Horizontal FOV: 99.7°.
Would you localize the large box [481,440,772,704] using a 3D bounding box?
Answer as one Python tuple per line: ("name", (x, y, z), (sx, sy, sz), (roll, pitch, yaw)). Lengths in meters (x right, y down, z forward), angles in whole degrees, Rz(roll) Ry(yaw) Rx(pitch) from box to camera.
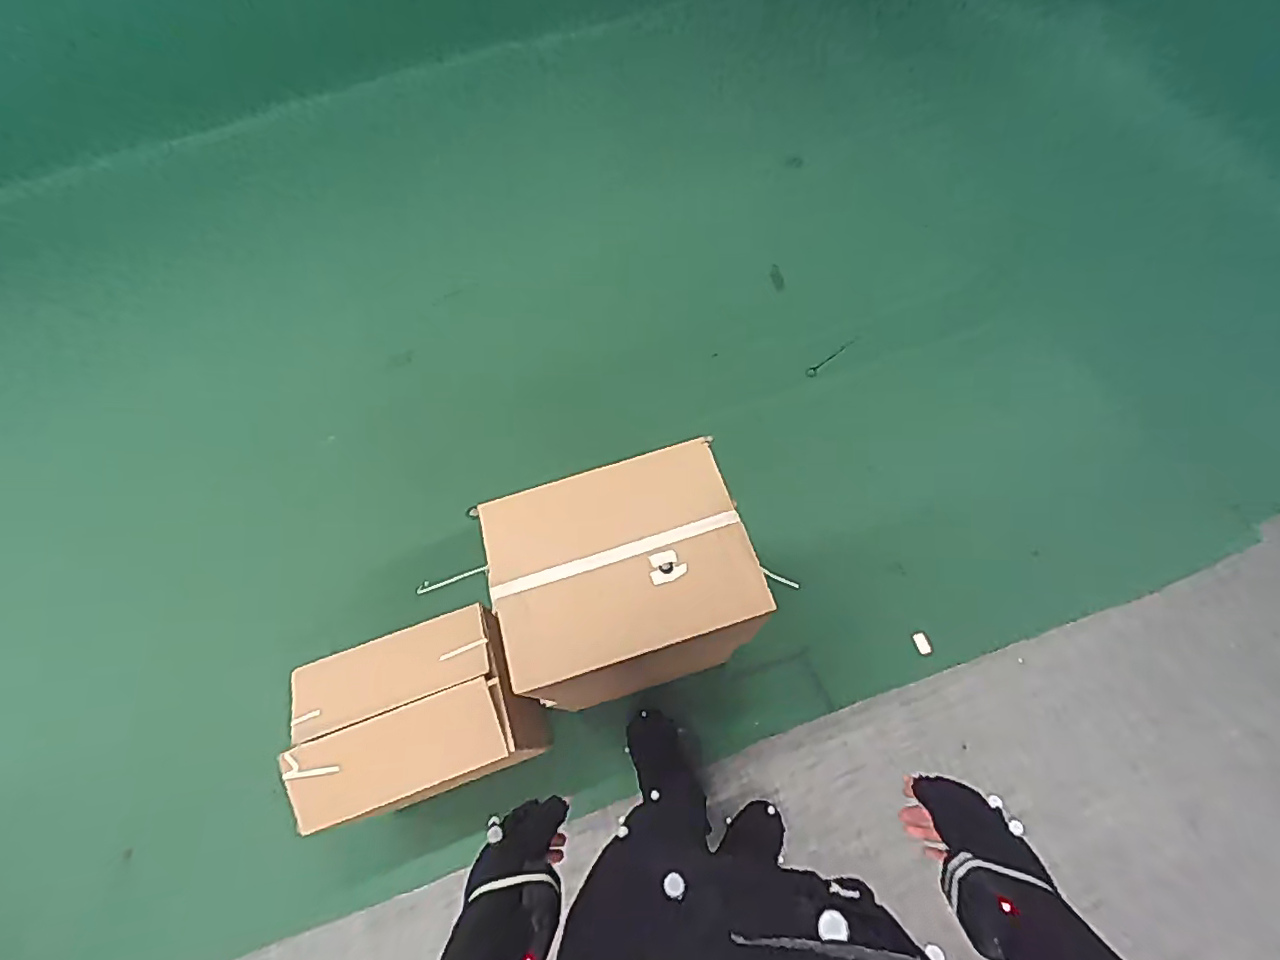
("large box", (-0.026, 0.182, 0.984), (0.408, 0.320, 0.320), (-17, 66, -5))
